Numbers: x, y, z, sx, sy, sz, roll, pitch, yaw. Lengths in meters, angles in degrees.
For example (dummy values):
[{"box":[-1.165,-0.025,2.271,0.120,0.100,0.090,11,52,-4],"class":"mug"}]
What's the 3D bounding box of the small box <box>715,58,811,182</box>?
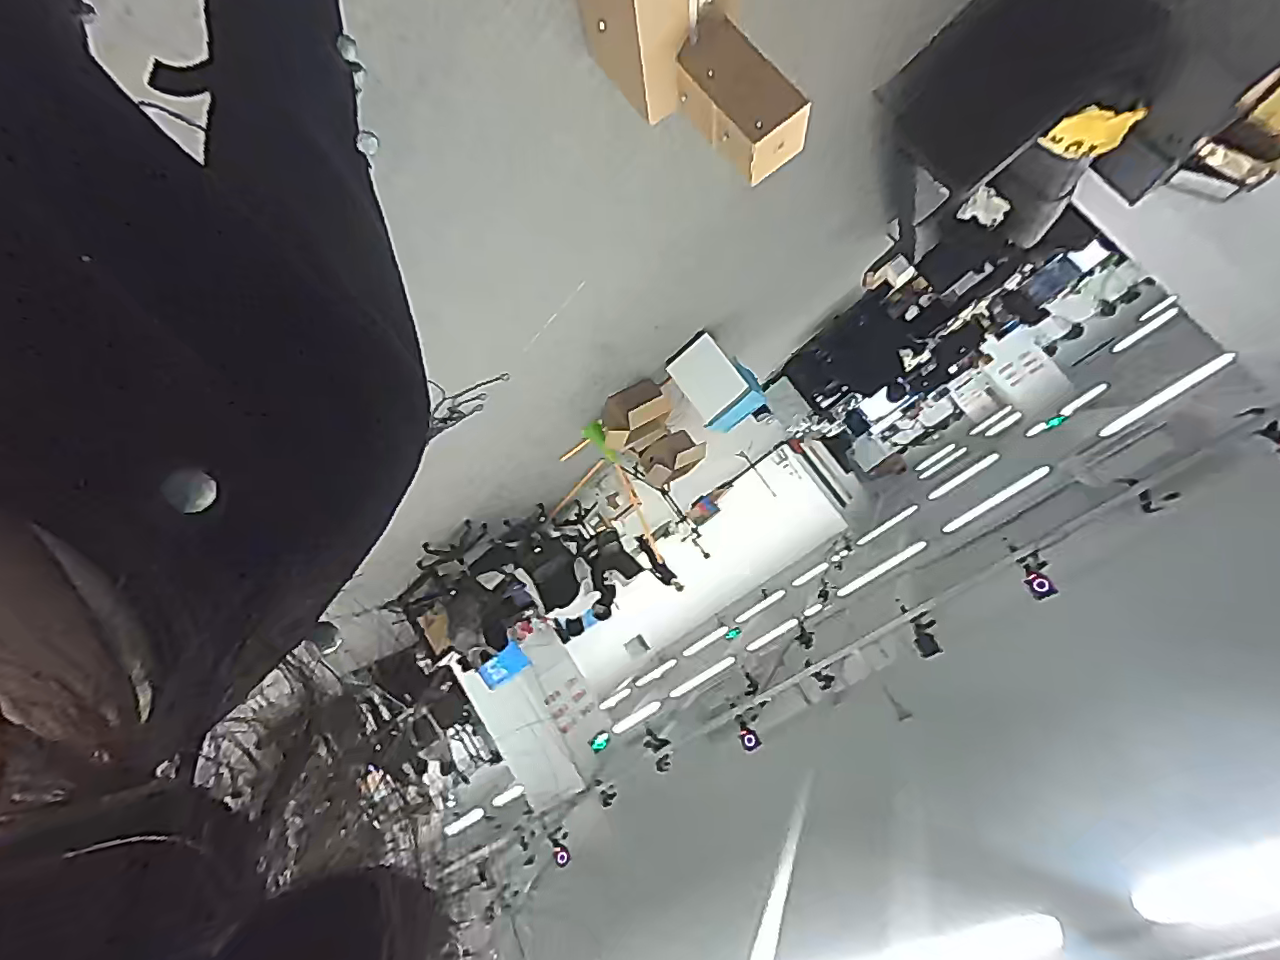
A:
[{"box":[0.316,-0.941,1.417,0.179,0.176,0.168,-36,169,4],"class":"small box"}]
